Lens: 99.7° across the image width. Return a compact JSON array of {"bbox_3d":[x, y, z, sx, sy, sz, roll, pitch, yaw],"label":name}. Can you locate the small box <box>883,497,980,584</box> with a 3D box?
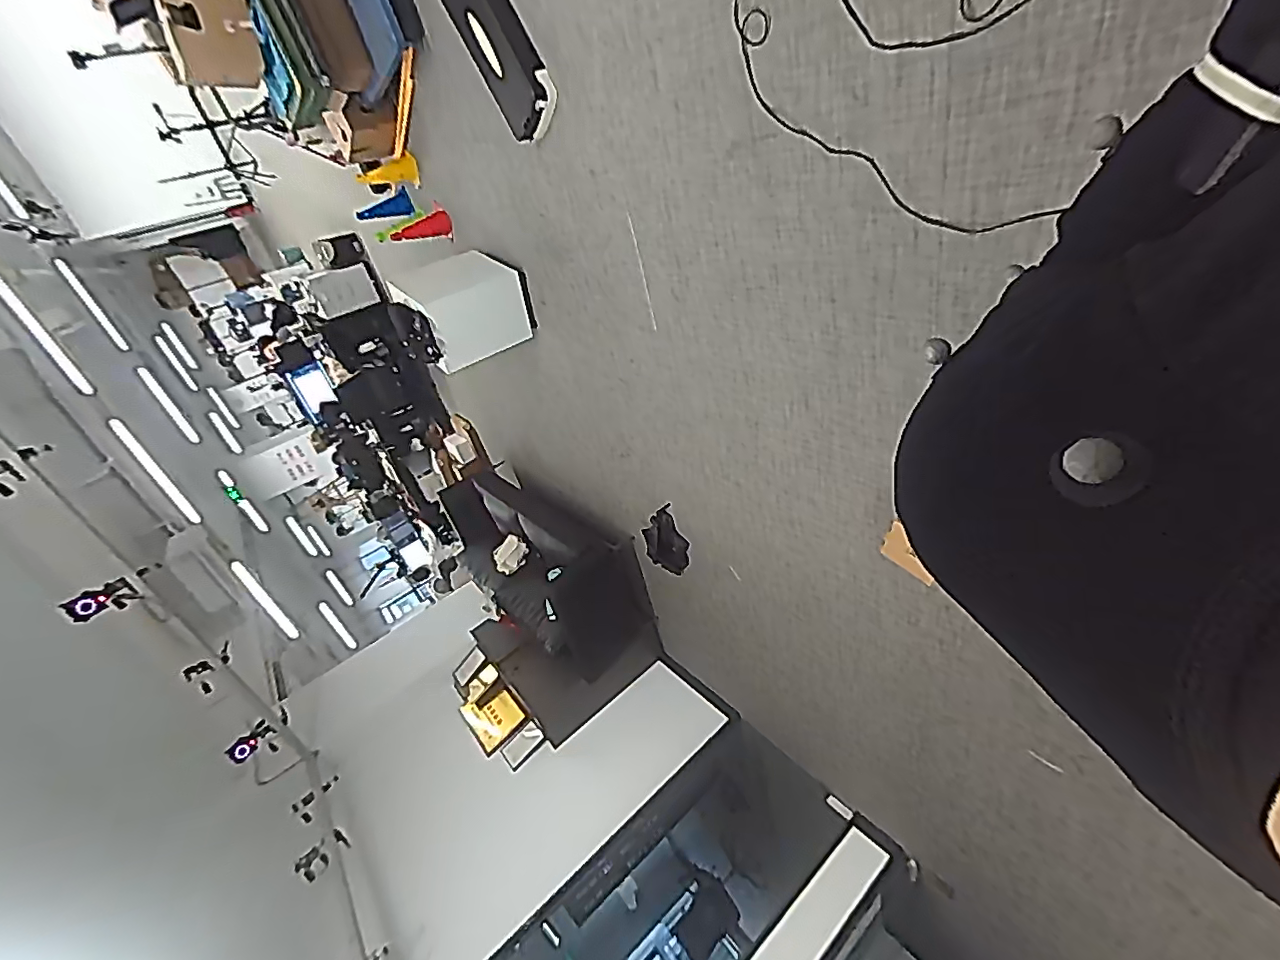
[{"bbox_3d":[0.884,0.175,1.645,0.179,0.176,0.168,38,149,33],"label":"small box"}]
